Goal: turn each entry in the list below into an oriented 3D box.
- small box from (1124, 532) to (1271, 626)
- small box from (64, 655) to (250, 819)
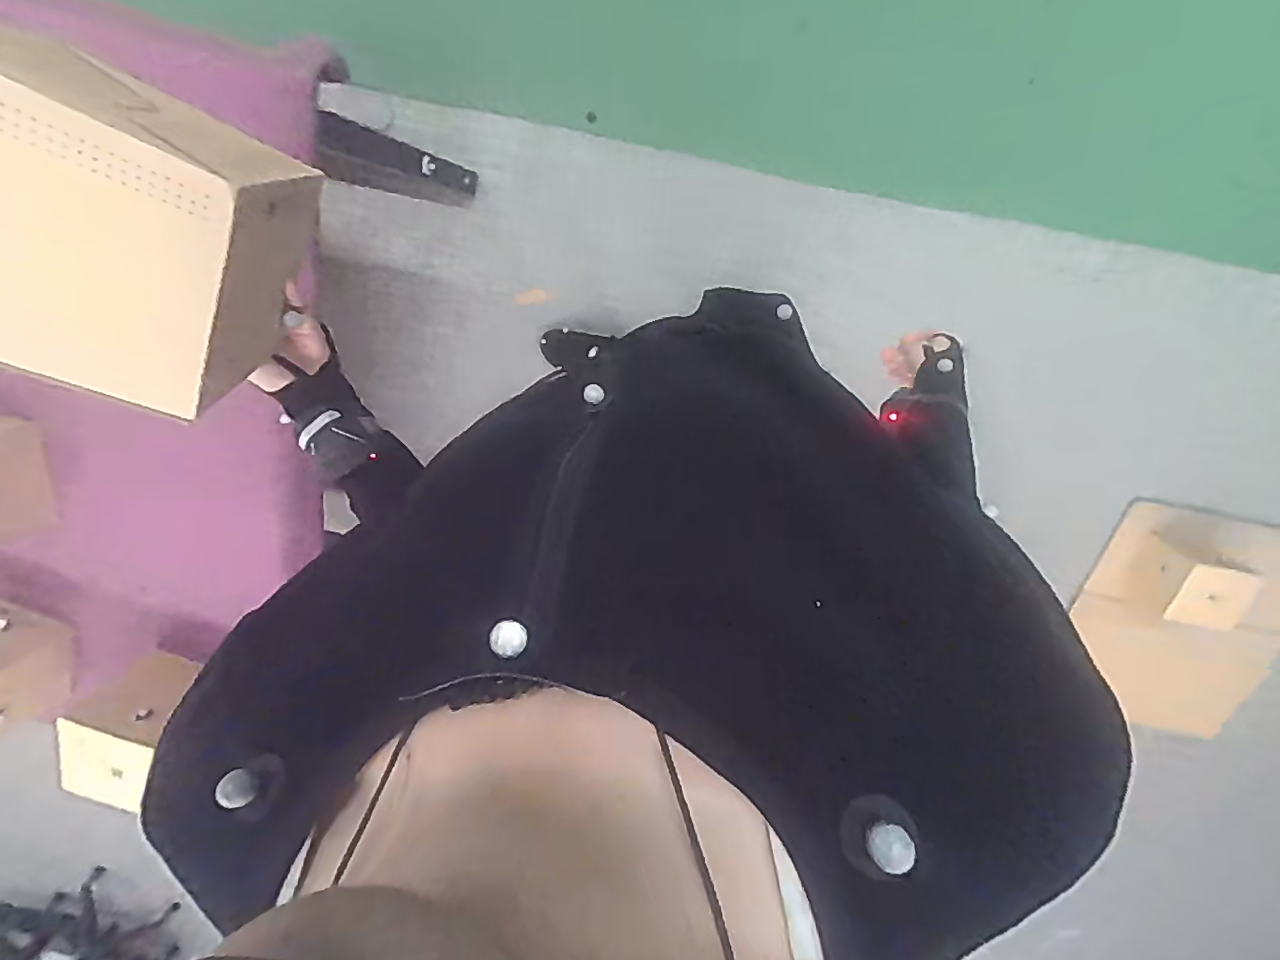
[{"bbox_3d":[1.440,0.251,1.414,0.179,0.176,0.168,10,112,1],"label":"small box"},{"bbox_3d":[-0.817,0.434,0.933,0.179,0.176,0.168,20,111,-3],"label":"small box"}]
